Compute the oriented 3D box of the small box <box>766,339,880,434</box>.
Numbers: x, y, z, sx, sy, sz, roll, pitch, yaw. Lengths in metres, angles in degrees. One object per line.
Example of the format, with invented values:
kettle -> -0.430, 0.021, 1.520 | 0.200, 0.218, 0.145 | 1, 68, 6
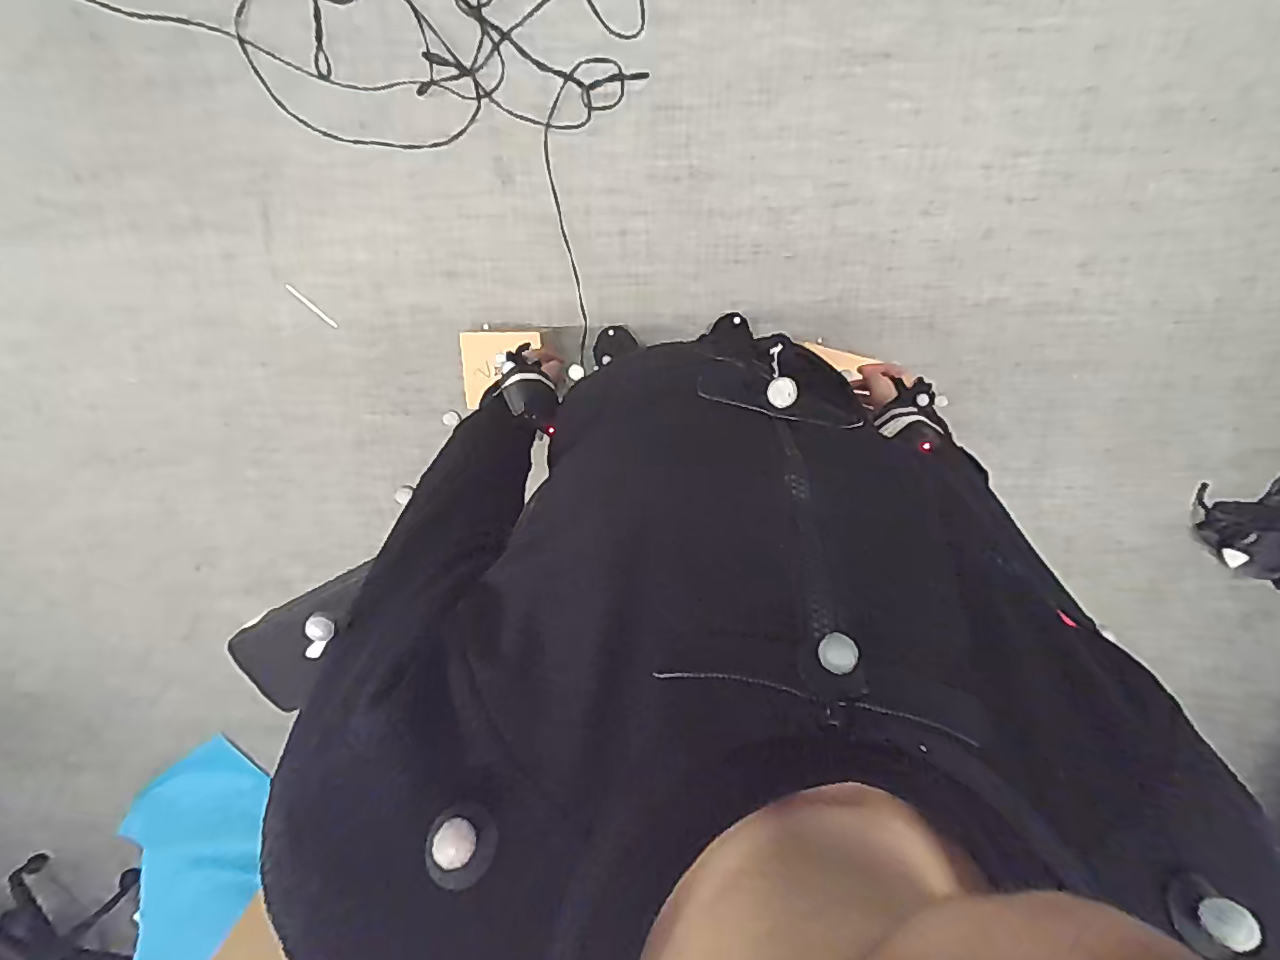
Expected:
small box -> 0.405, -0.219, 1.228 | 0.179, 0.176, 0.168 | 12, 109, -2
